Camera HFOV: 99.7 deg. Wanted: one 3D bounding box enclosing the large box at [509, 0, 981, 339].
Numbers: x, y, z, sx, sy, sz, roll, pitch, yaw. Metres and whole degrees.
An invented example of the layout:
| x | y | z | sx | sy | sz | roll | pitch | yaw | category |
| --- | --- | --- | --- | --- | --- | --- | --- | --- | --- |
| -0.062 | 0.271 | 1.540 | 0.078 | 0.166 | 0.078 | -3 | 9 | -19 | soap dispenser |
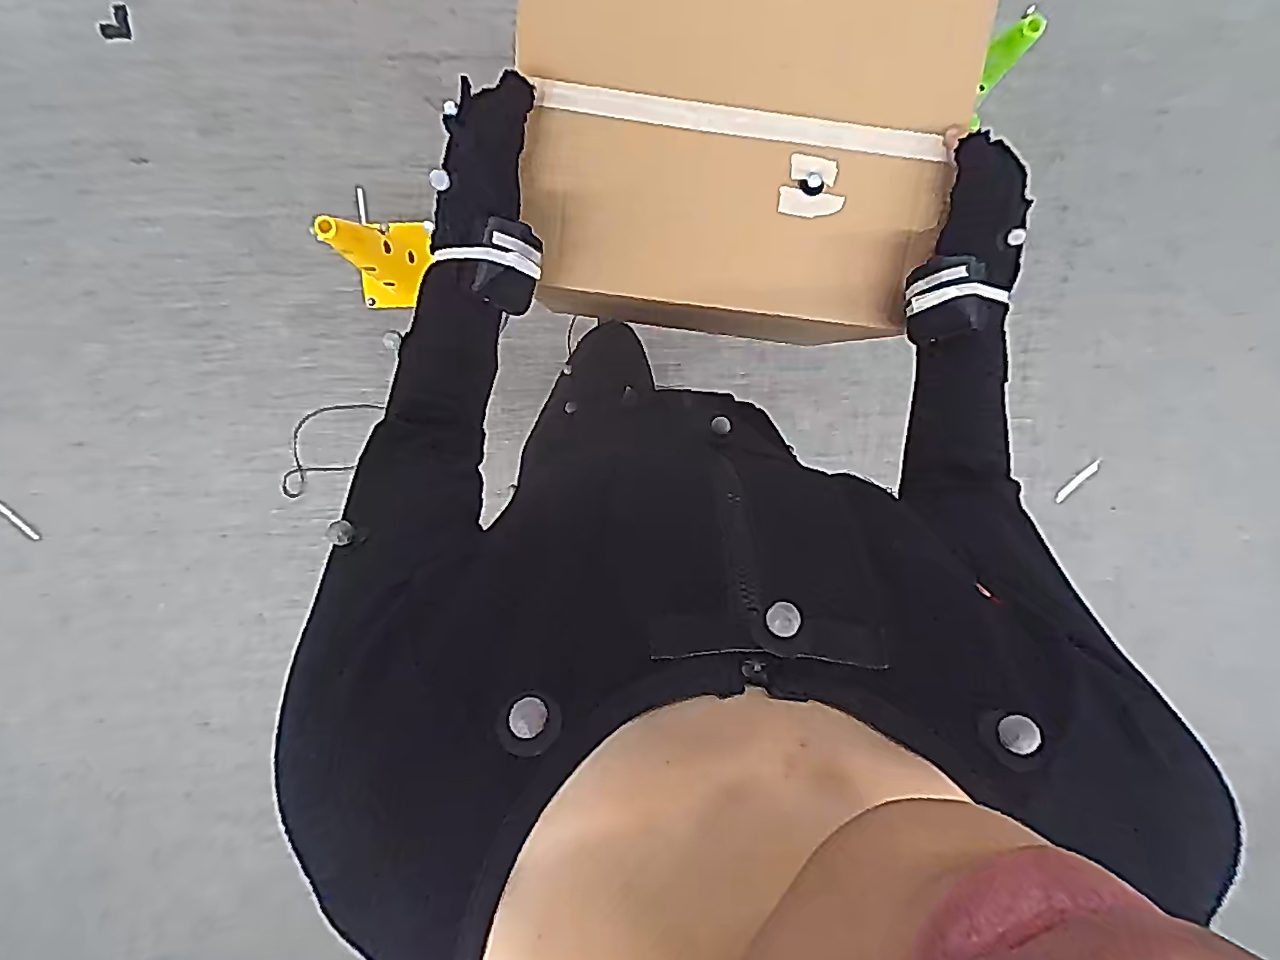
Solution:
| x | y | z | sx | sy | sz | roll | pitch | yaw | category |
| --- | --- | --- | --- | --- | --- | --- | --- | --- | --- |
| 0.081 | -0.349 | 0.628 | 0.408 | 0.320 | 0.320 | 6 | 102 | -4 | large box |
